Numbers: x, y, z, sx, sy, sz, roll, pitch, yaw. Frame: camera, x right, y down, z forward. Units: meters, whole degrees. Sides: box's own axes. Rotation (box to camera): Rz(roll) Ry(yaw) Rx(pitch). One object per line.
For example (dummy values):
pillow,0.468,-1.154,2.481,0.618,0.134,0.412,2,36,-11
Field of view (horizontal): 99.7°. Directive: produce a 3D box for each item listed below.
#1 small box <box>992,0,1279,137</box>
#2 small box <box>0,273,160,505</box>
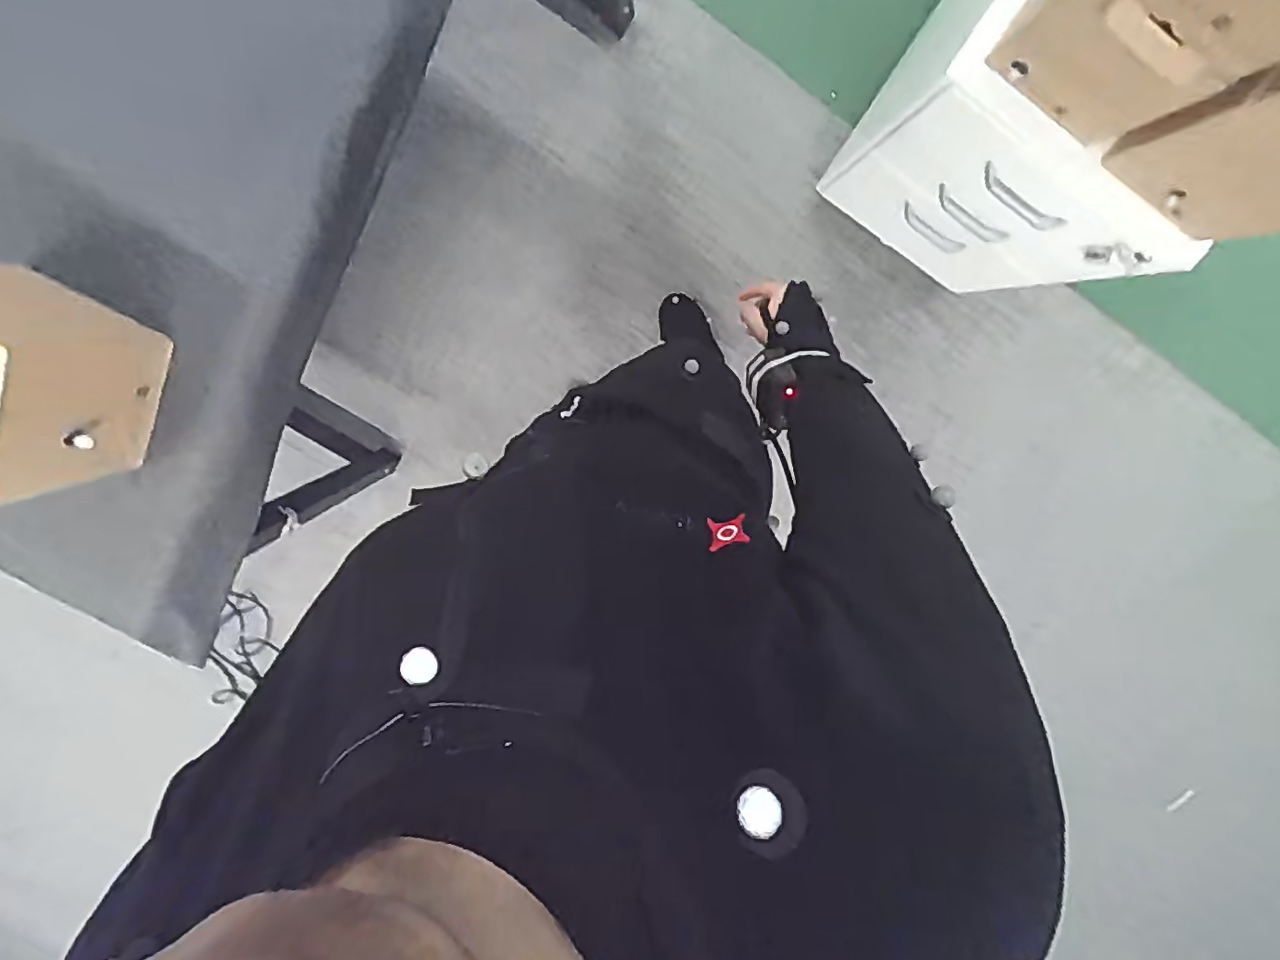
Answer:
small box,0.496,-0.486,0.534,0.168,0.176,0.179,32,103,-9
small box,-0.636,-0.100,0.531,0.179,0.176,0.168,27,105,-6
